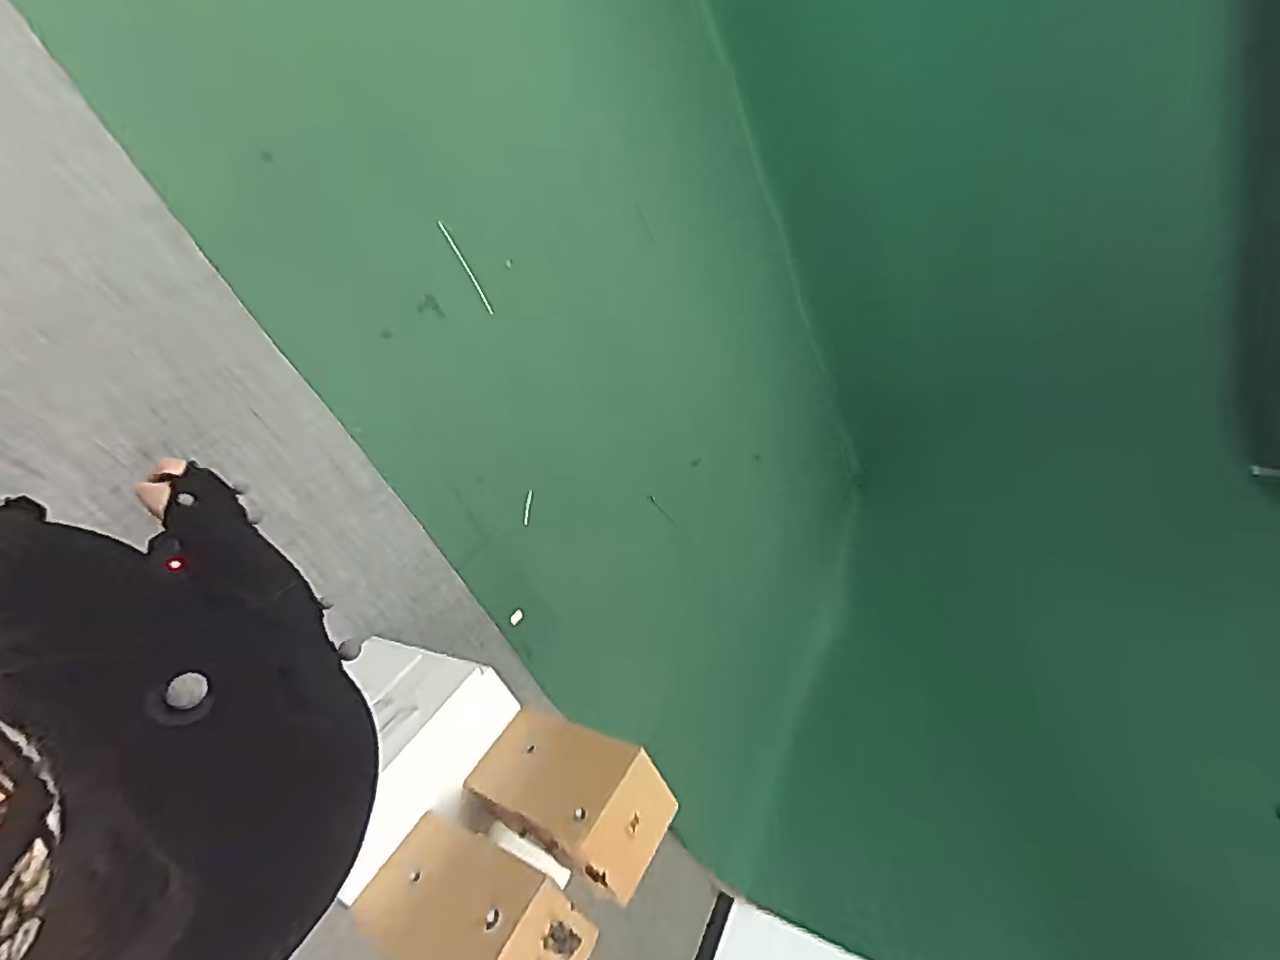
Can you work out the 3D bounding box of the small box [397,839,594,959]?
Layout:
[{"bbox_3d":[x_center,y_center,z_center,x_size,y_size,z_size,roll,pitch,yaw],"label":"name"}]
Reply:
[{"bbox_3d":[-0.203,0.656,0.765,0.179,0.176,0.168,-49,121,-42],"label":"small box"}]

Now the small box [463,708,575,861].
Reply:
[{"bbox_3d":[-0.200,0.569,1.036,0.179,0.176,0.168,-48,120,-40],"label":"small box"}]

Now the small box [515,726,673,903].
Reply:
[{"bbox_3d":[-0.078,0.557,0.927,0.179,0.176,0.168,-46,119,-39],"label":"small box"}]
